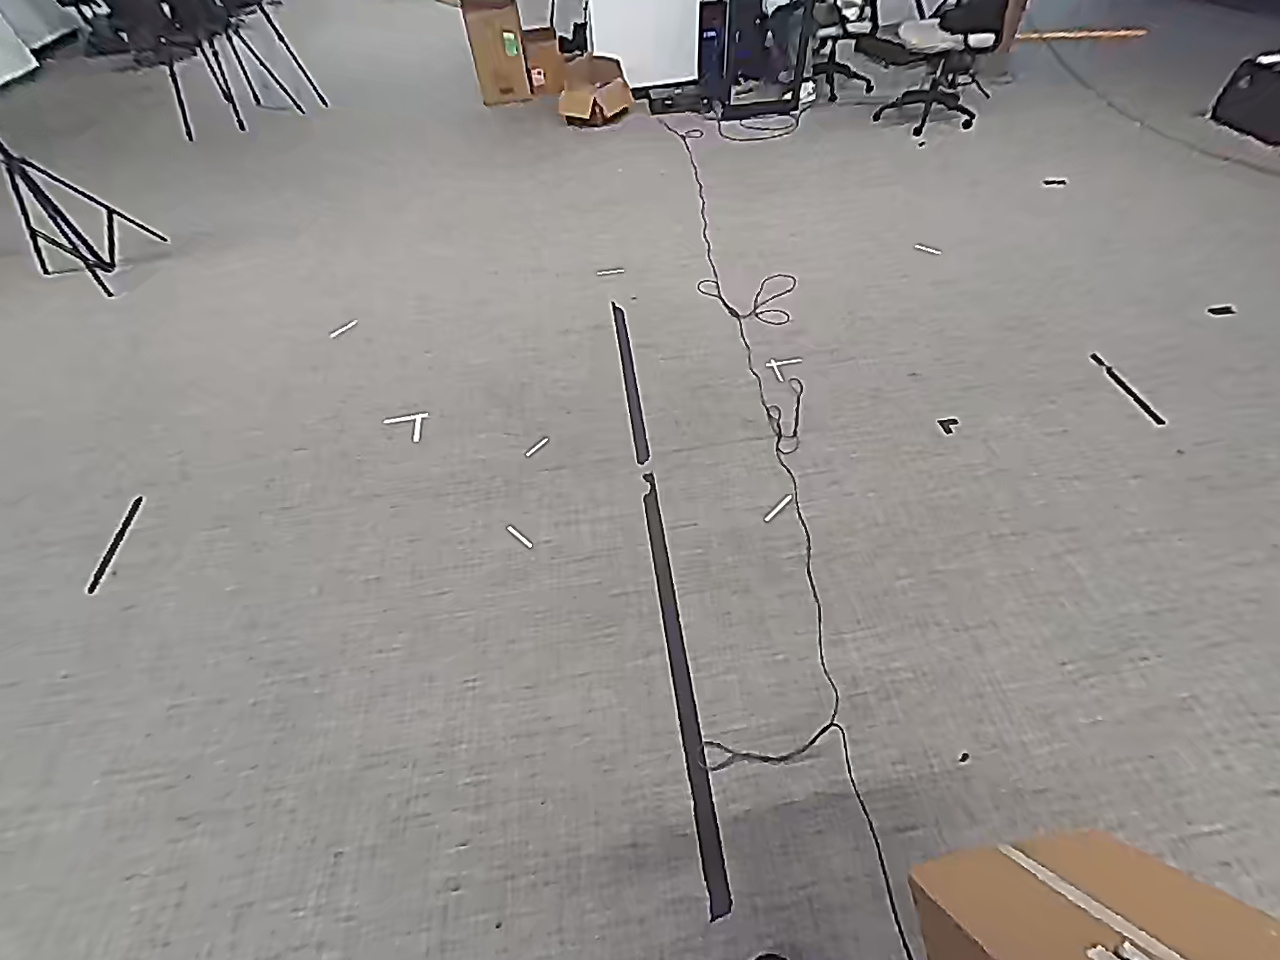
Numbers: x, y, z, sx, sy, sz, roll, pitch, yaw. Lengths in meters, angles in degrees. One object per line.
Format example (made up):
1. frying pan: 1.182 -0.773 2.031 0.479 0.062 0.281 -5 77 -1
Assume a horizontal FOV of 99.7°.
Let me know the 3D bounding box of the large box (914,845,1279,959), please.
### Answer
1. large box: 0.589 0.687 0.602 0.320 0.408 0.320 -10 78 -3
